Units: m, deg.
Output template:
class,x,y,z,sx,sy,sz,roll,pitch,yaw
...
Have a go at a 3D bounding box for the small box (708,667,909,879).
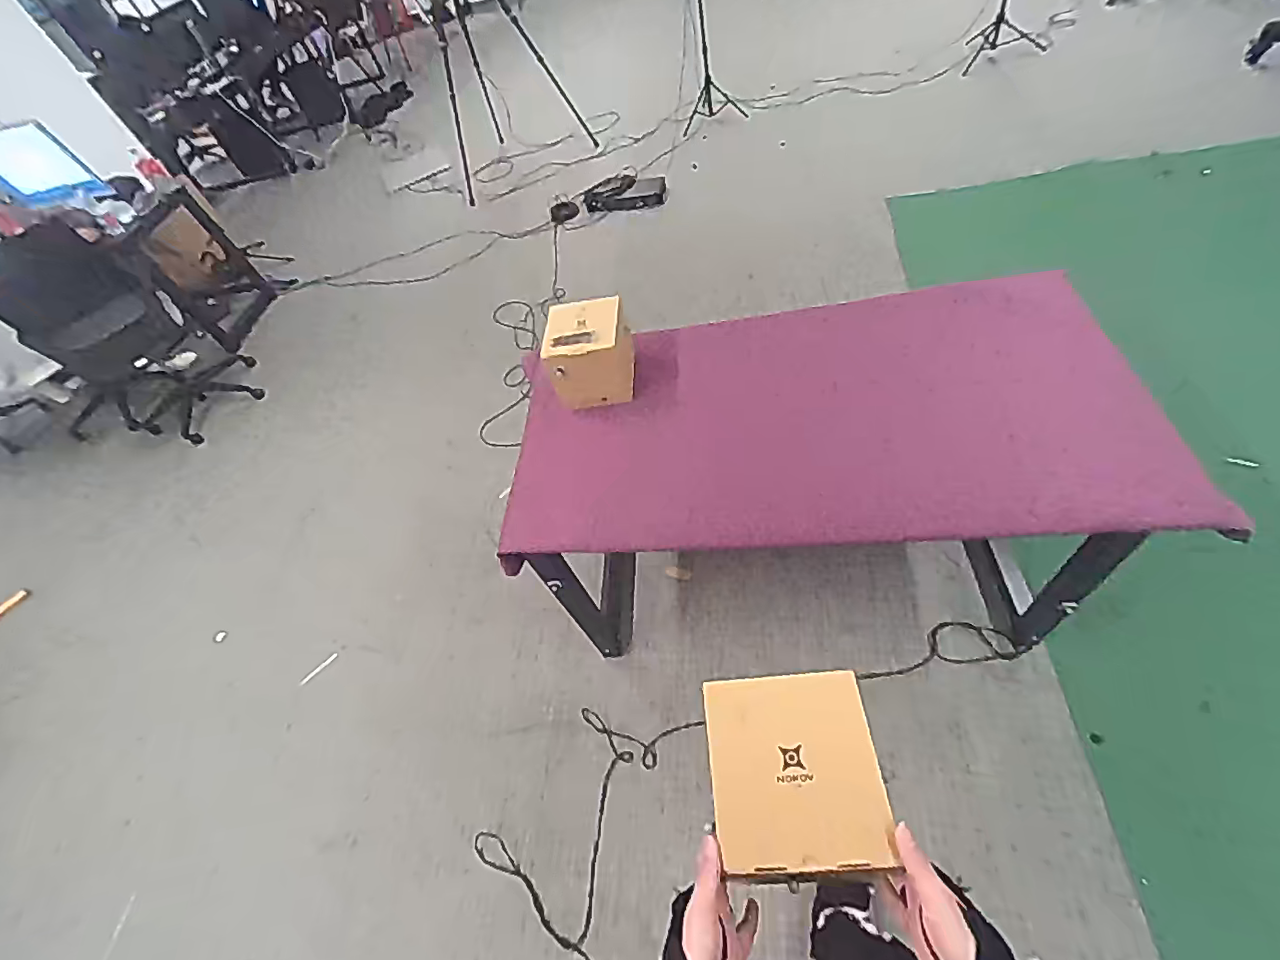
class,x,y,z,sx,sy,sz,roll,pitch,yaw
small box,0.166,0.325,0.595,0.168,0.176,0.179,-7,51,6
